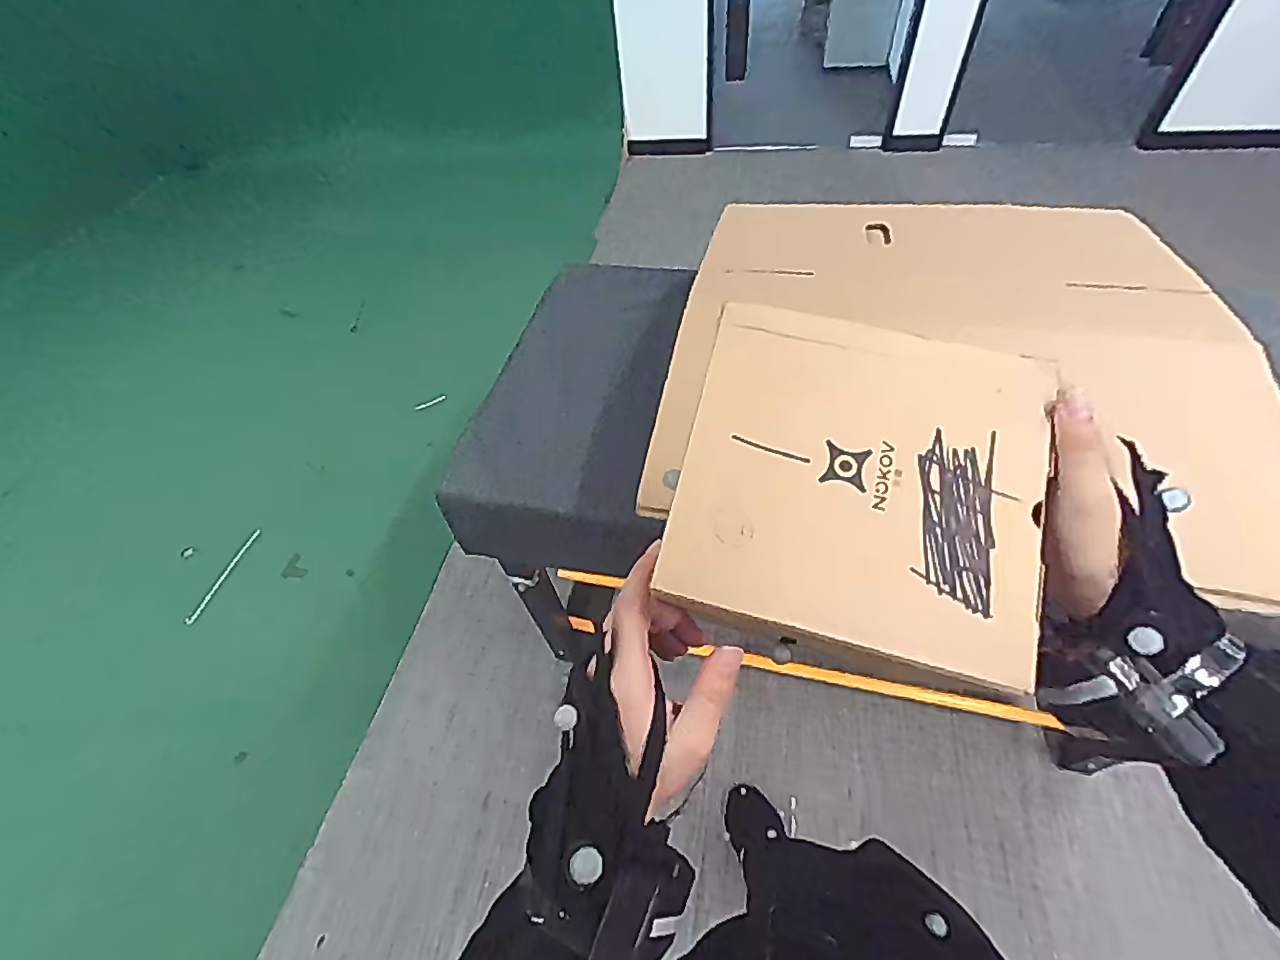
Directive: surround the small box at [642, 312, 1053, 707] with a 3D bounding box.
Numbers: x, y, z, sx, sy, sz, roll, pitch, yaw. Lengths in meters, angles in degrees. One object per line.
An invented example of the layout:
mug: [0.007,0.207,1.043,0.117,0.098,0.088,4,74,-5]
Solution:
small box: [0.111,0.025,0.345,0.179,0.176,0.168,15,75,8]
